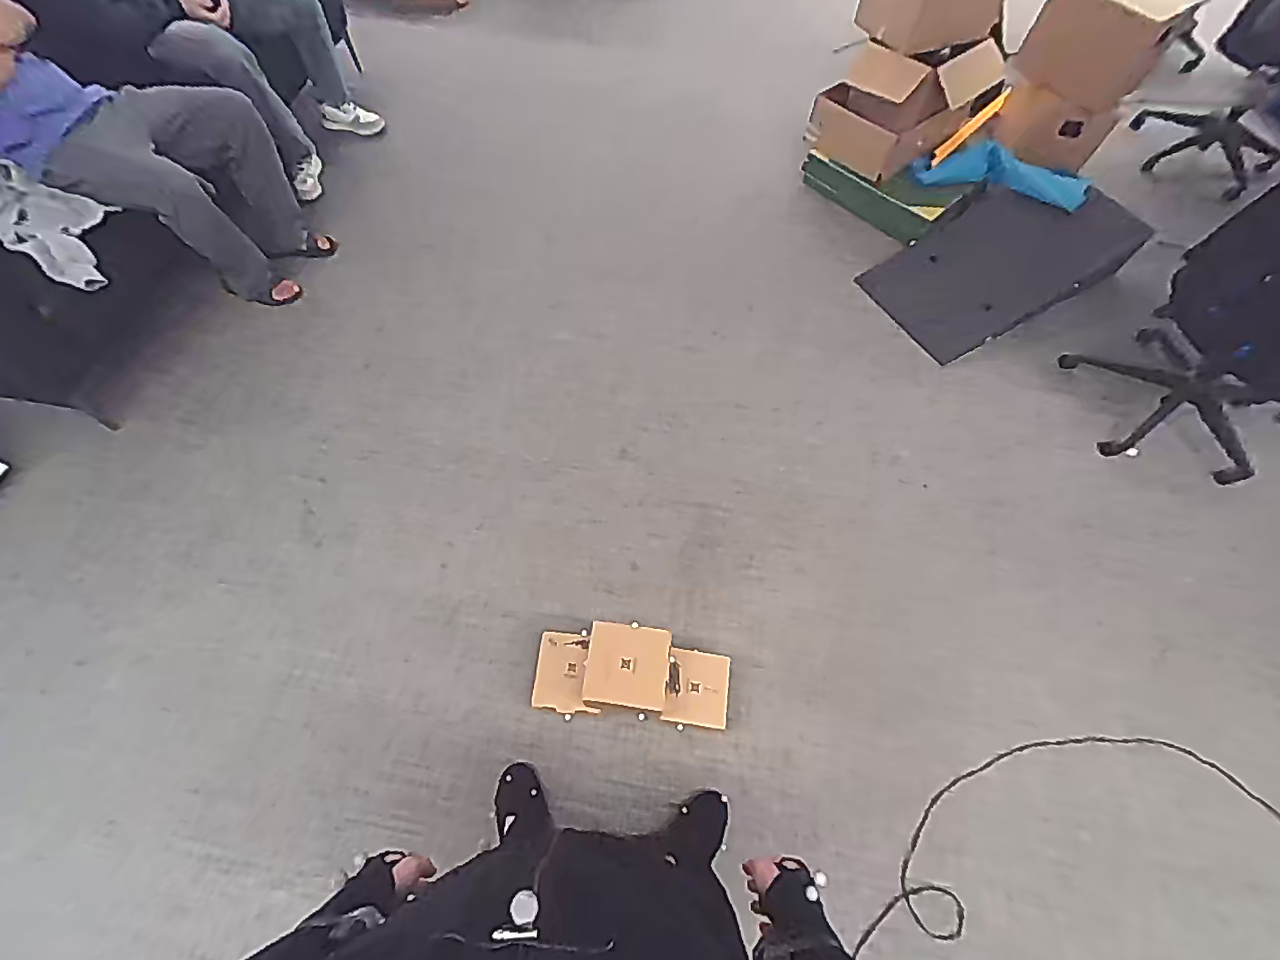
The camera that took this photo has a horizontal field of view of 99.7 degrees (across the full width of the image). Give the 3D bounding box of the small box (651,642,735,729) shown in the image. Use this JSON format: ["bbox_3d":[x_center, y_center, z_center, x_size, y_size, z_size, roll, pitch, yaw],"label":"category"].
[{"bbox_3d":[0.127,0.519,1.353,0.179,0.176,0.168,12,65,6],"label":"small box"}]

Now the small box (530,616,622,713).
[{"bbox_3d":[-0.156,0.472,1.368,0.179,0.176,0.168,-22,63,-10],"label":"small box"}]
